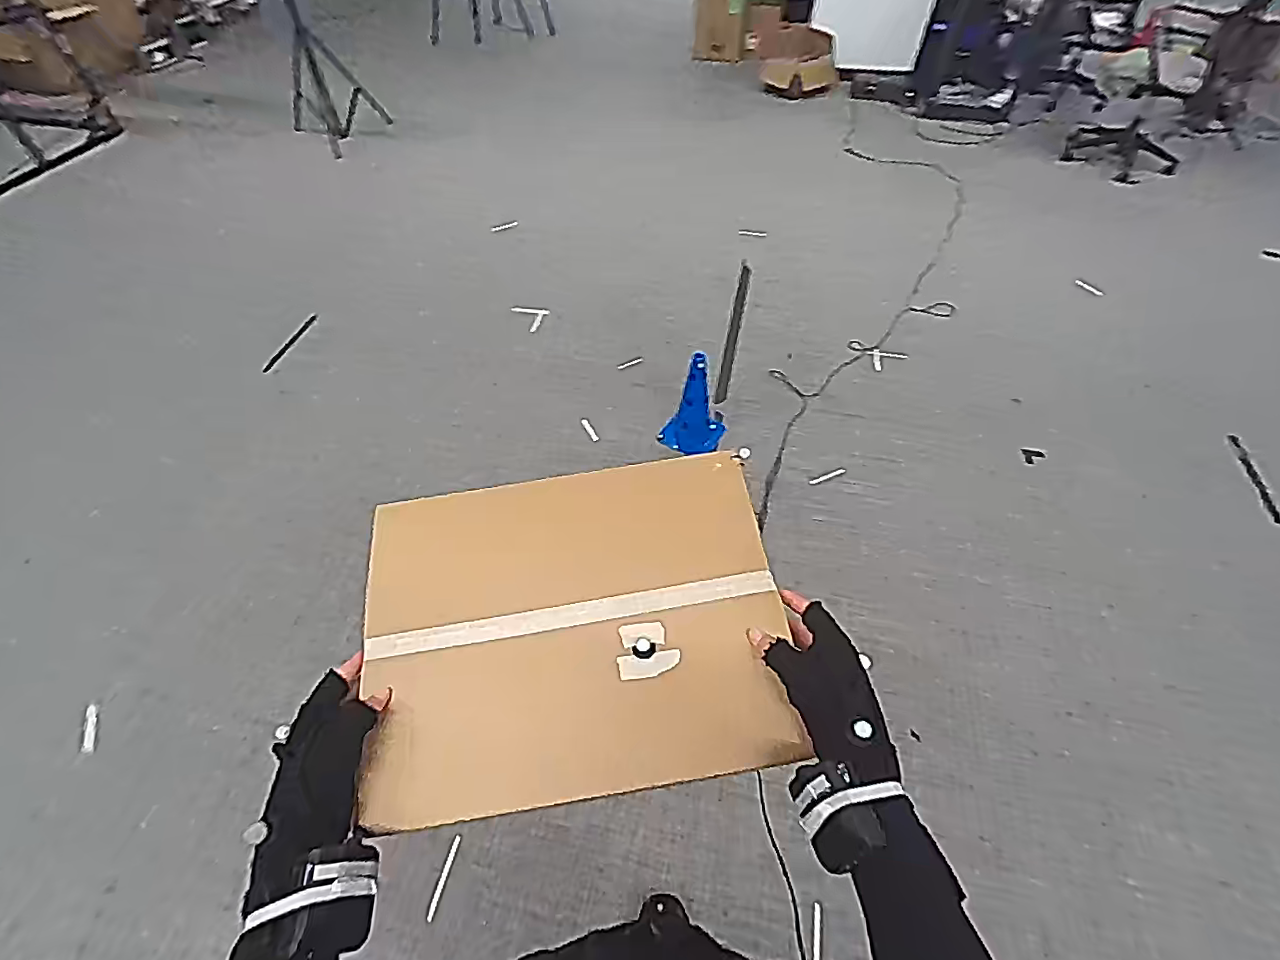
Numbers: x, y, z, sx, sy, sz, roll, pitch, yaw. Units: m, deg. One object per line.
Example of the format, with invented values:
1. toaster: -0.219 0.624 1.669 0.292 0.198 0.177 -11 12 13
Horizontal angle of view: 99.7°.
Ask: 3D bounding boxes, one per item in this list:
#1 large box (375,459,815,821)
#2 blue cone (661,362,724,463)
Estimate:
1. large box: -0.052 0.208 0.678 0.408 0.320 0.320 -8 62 -1
2. blue cone: 0.192 -0.255 1.863 0.193 0.380 0.192 27 57 21
